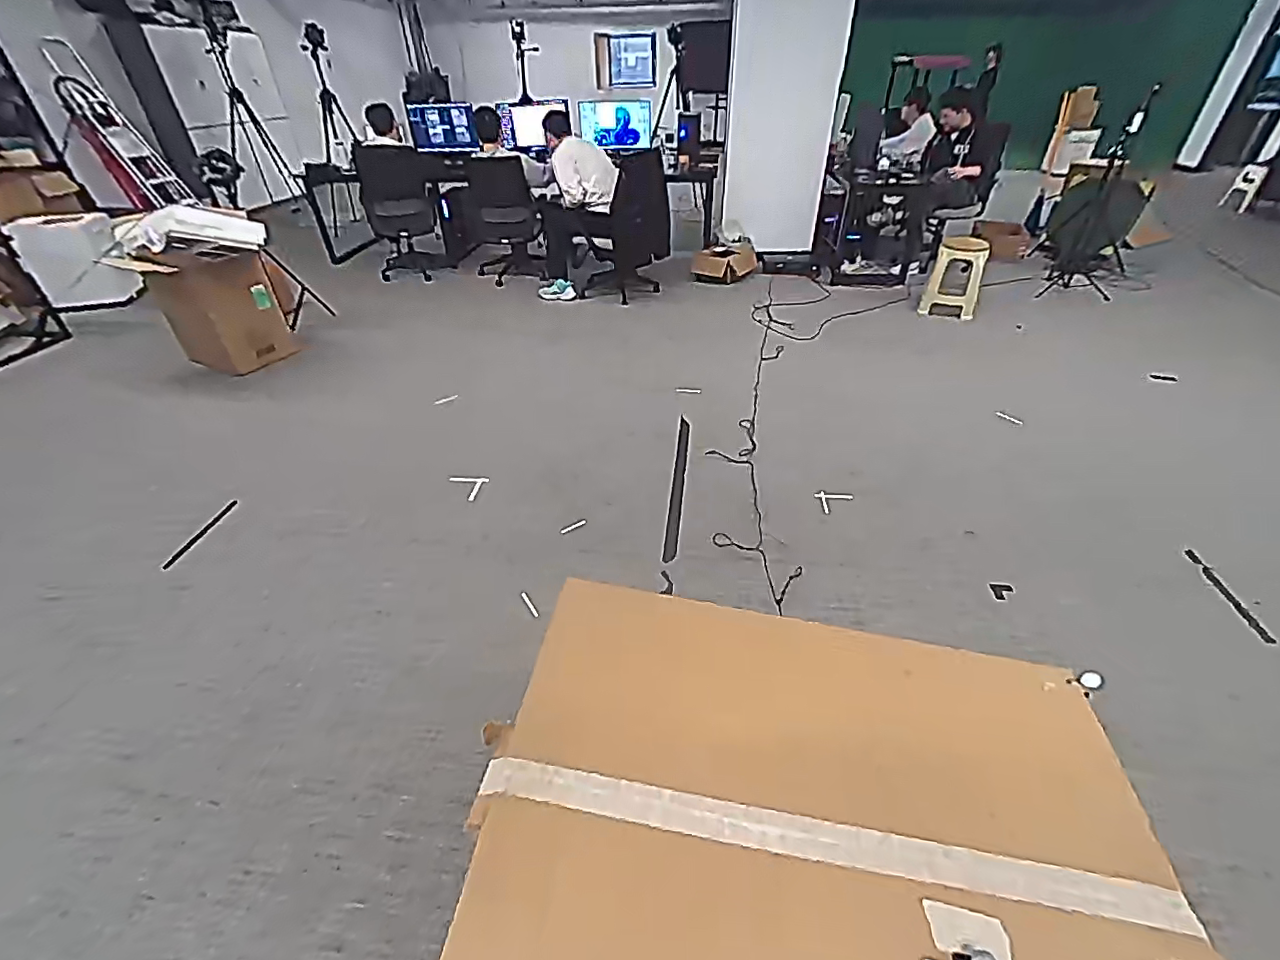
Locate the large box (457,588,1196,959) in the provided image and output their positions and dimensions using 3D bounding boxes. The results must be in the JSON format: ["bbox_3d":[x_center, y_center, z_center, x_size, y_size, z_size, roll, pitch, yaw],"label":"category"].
[{"bbox_3d":[0.098,0.329,0.423,0.408,0.320,0.320,10,42,3],"label":"large box"}]
